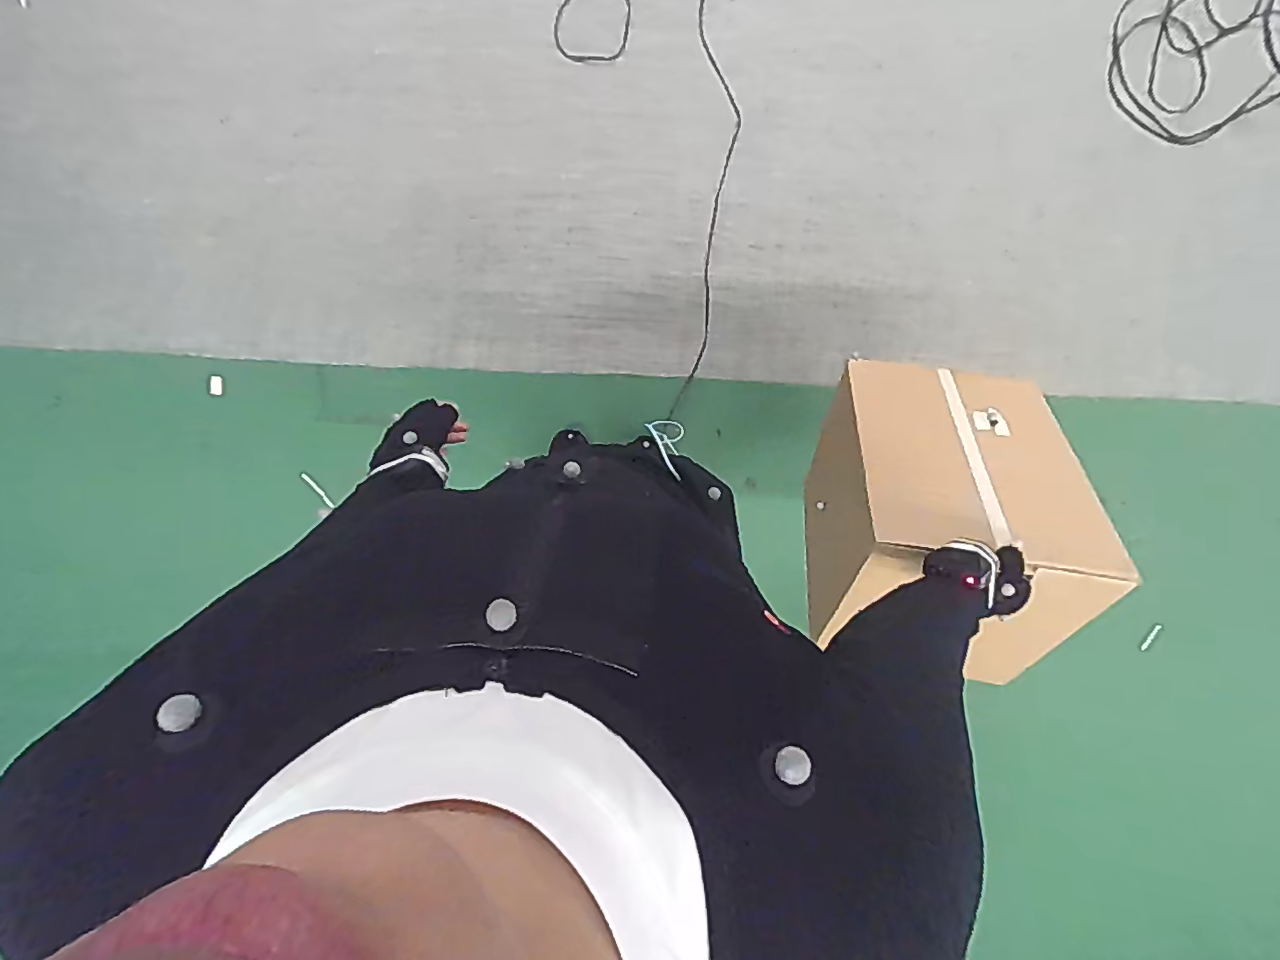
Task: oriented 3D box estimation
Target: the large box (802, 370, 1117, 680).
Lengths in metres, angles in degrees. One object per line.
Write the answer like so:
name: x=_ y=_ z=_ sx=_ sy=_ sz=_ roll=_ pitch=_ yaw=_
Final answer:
large box: x=0.471 y=0.069 z=0.923 sx=0.320 sy=0.408 sz=0.320 roll=10 pitch=136 yaw=5
